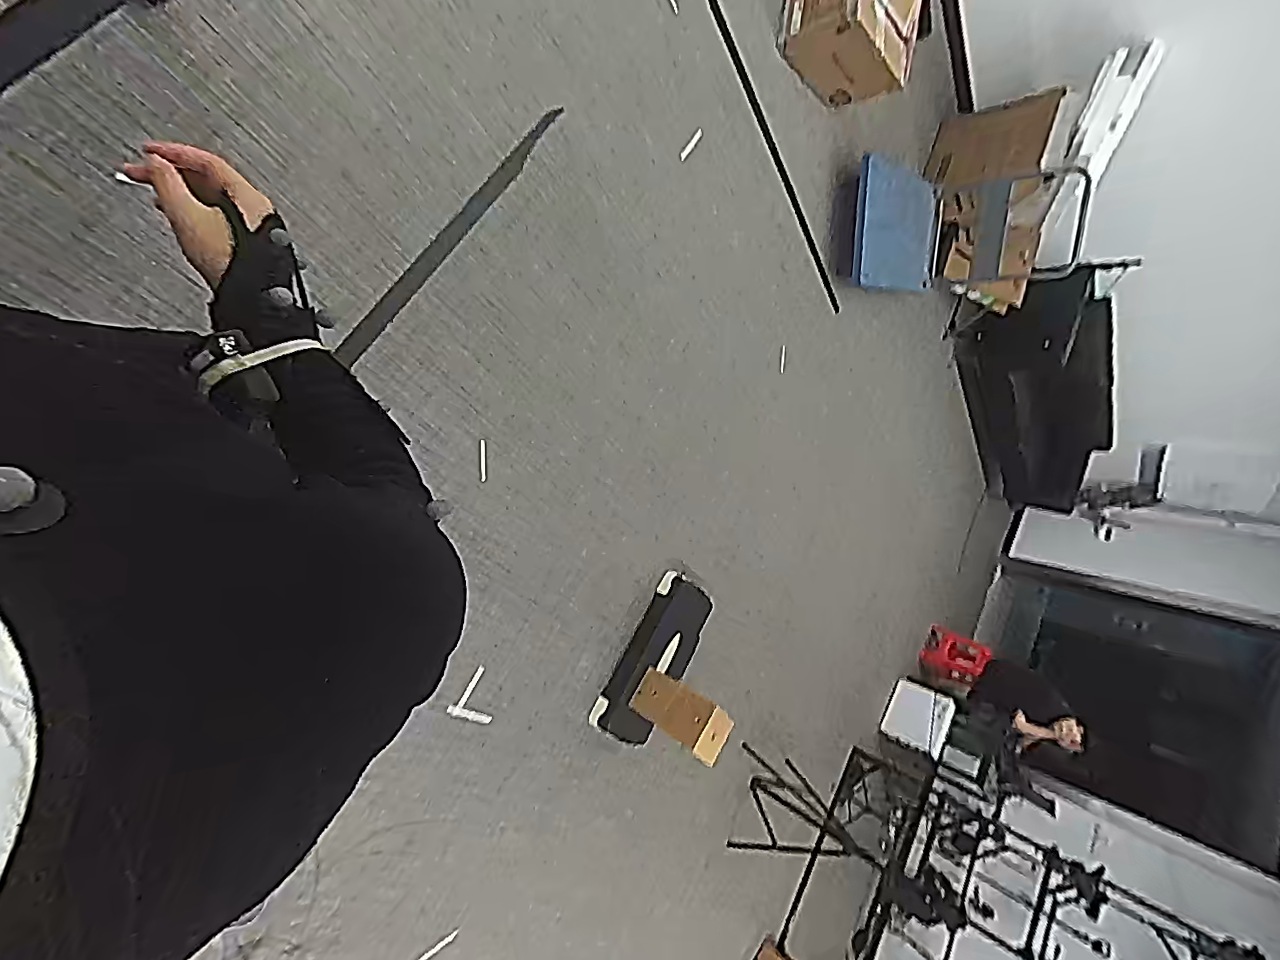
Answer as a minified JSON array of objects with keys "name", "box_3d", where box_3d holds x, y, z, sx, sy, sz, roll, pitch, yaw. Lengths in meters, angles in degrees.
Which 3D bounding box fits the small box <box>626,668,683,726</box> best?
[{"name":"small box","box_3d":[0.077,0.841,2.061,0.168,0.176,0.179,-57,132,-19]}]

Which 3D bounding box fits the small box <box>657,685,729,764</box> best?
[{"name":"small box","box_3d":[0.185,0.876,1.944,0.179,0.176,0.168,-55,131,-22]}]
